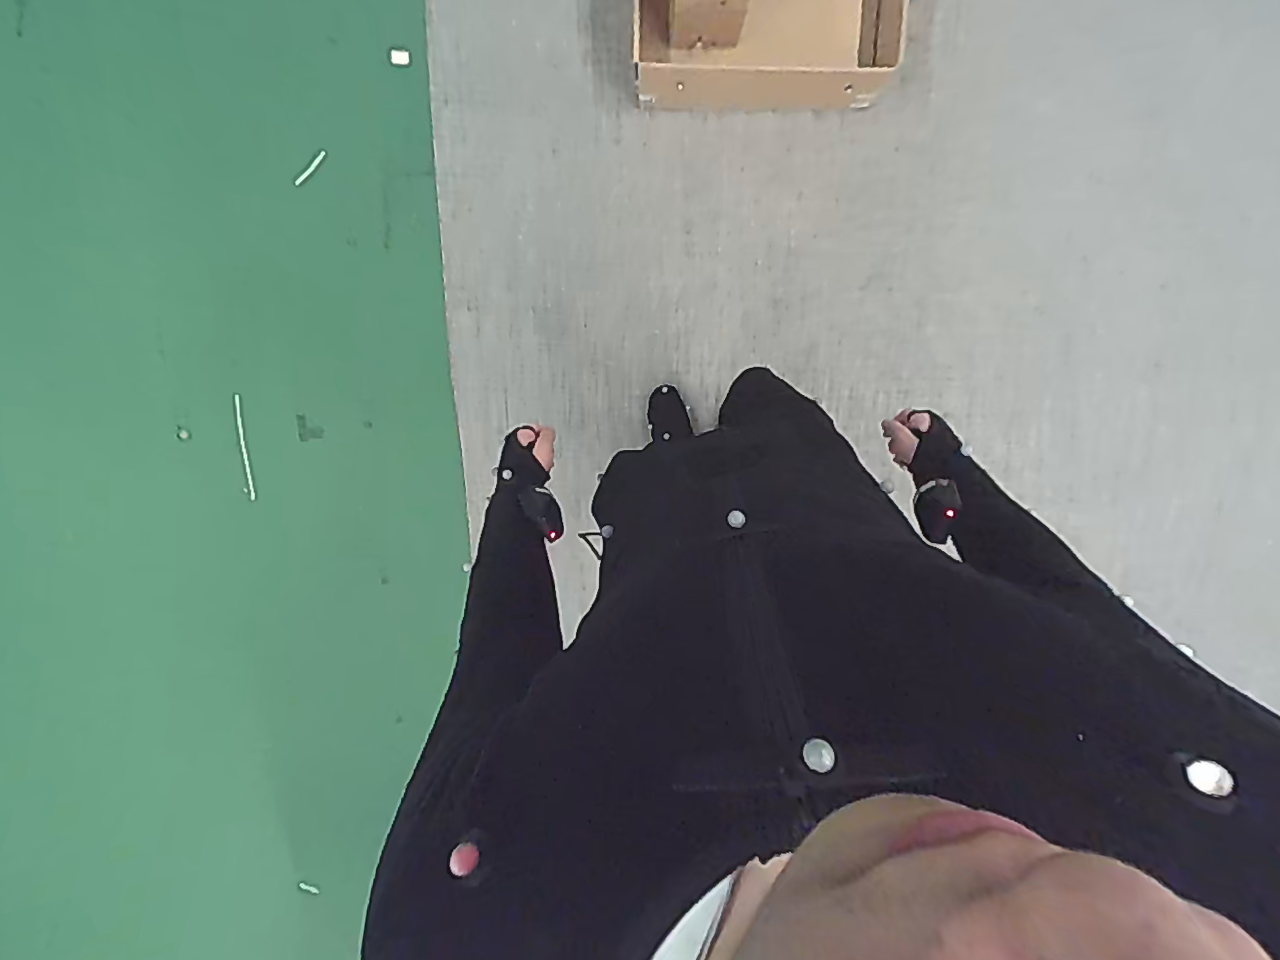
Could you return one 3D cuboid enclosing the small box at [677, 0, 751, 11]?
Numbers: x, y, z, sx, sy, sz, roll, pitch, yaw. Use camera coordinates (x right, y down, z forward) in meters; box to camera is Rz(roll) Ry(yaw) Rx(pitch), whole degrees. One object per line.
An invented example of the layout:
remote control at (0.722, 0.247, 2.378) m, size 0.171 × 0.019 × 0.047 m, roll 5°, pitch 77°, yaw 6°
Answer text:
small box at (0.157, -1.100, 1.090) m, size 0.168 × 0.176 × 0.179 m, roll -2°, pitch 101°, yaw 1°
